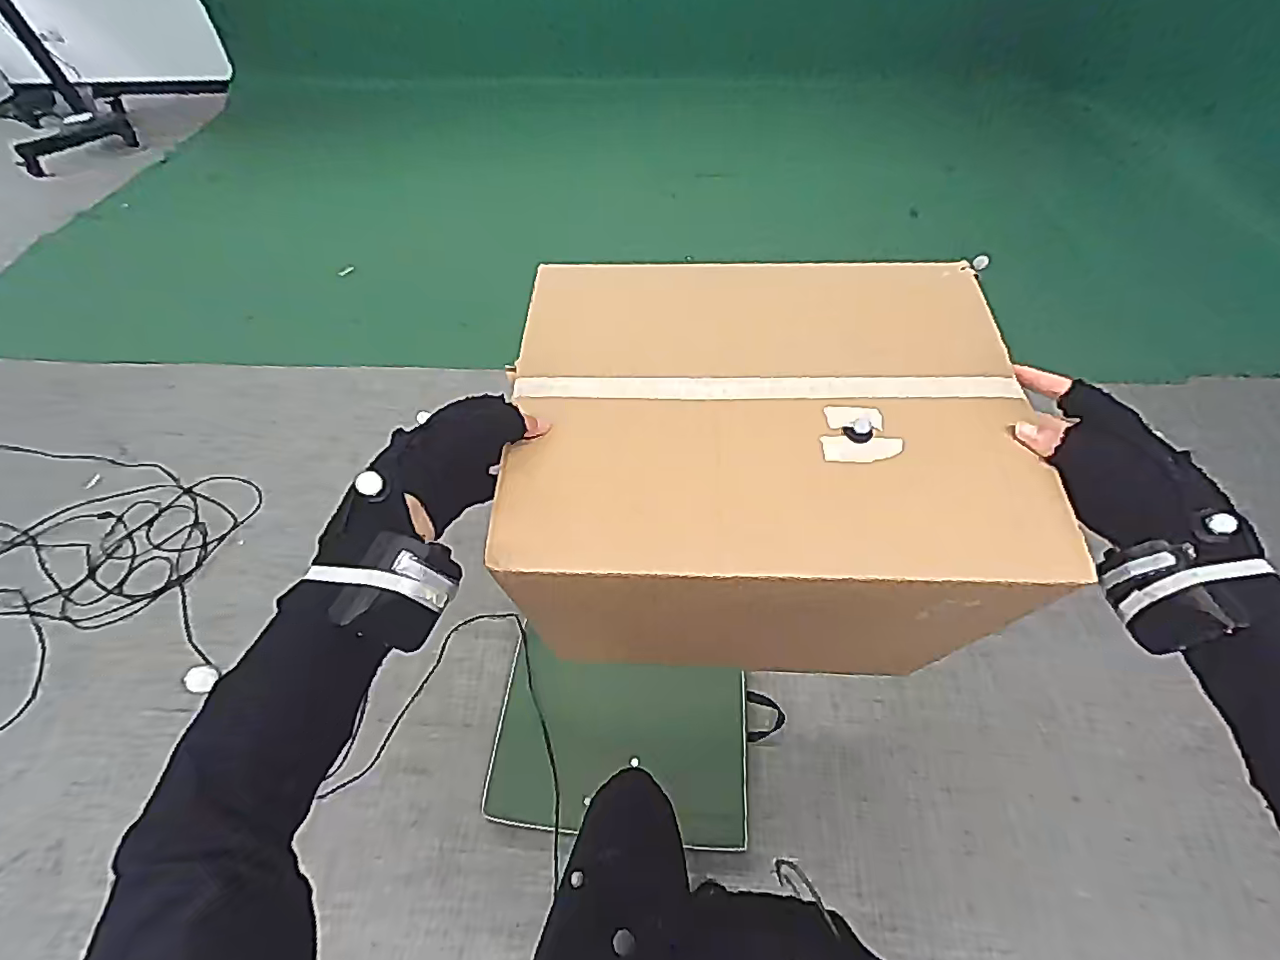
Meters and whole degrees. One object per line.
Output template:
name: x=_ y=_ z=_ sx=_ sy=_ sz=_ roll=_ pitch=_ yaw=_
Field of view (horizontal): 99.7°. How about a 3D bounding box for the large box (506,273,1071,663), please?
large box: x=0.105 y=0.005 z=0.579 sx=0.408 sy=0.320 sz=0.320 roll=1 pitch=60 yaw=2
